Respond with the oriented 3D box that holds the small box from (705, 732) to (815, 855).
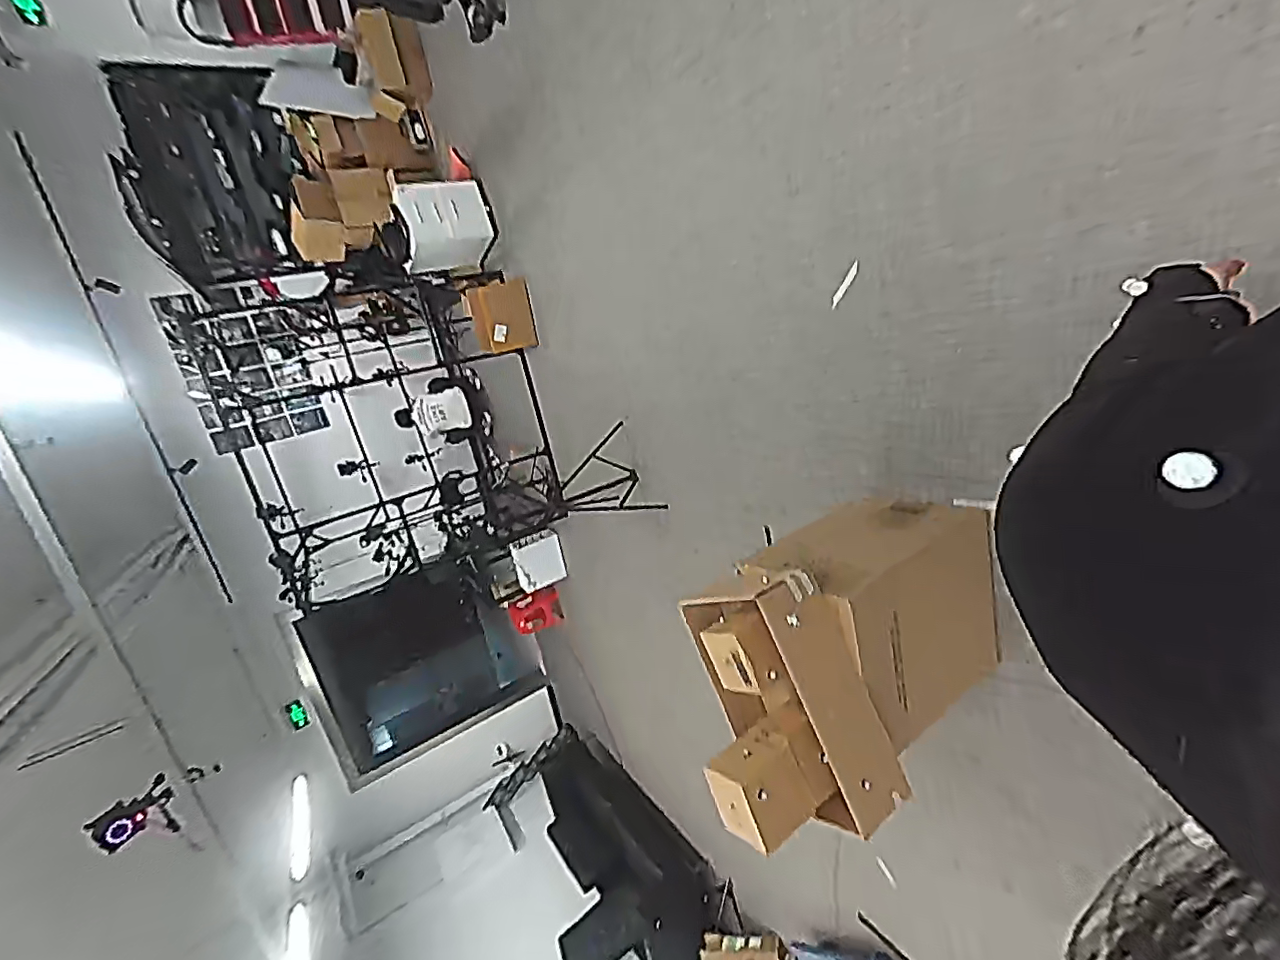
[{"bbox_3d":[0.295,0.756,1.330,0.168,0.176,0.179,-21,91,61],"label":"small box"}]
